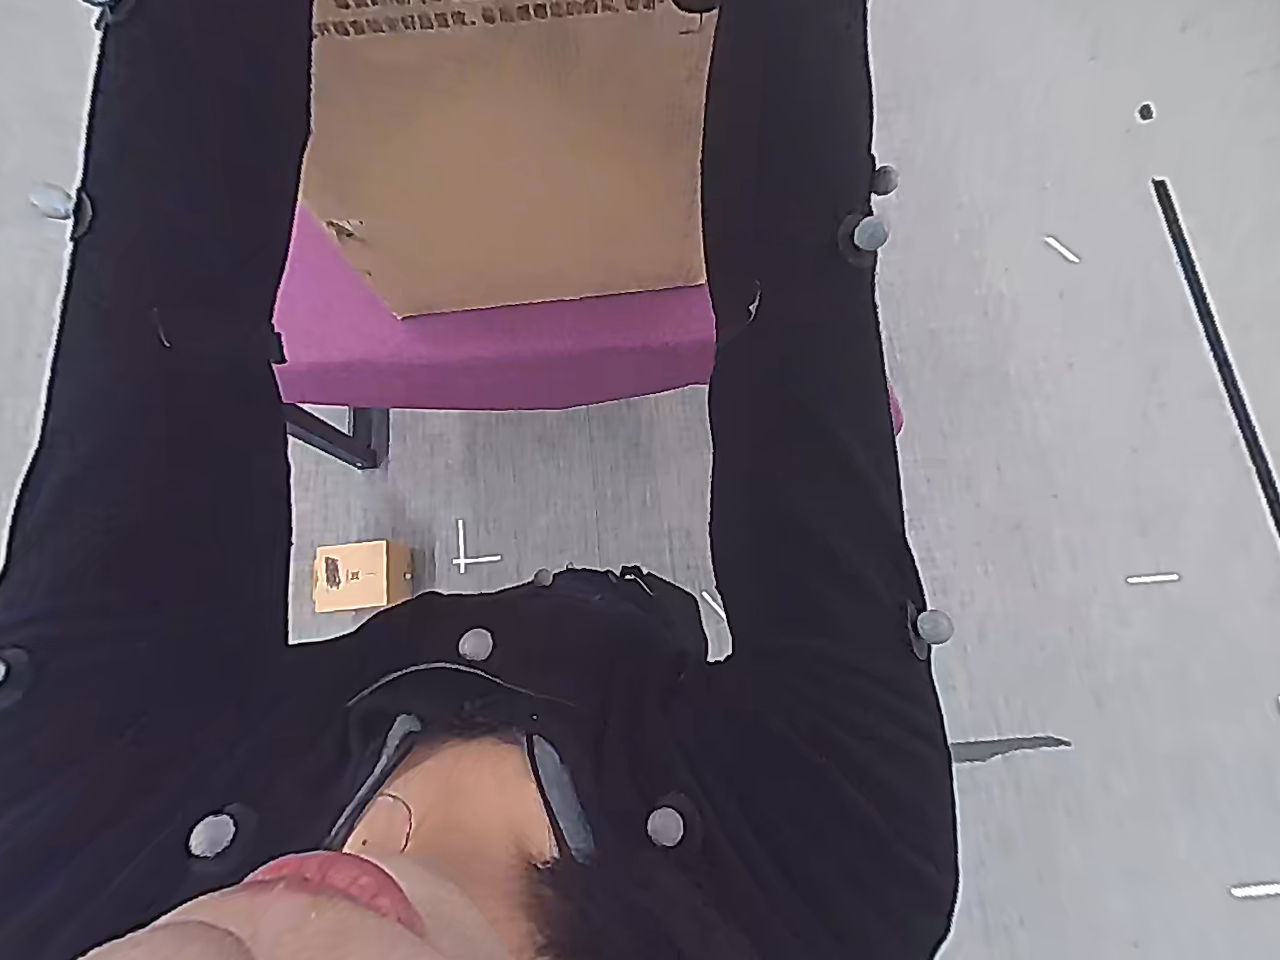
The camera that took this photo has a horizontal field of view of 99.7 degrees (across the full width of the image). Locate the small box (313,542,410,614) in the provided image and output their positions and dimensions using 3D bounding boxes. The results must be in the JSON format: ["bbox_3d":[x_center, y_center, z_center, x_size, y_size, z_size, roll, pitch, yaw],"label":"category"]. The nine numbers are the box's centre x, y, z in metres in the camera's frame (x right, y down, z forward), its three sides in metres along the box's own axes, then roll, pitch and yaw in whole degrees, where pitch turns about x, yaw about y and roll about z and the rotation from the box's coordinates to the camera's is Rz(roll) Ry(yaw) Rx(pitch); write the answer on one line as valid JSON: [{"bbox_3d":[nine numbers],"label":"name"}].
[{"bbox_3d":[-0.725,0.261,1.422,0.179,0.176,0.168,-6,77,-4],"label":"small box"}]
